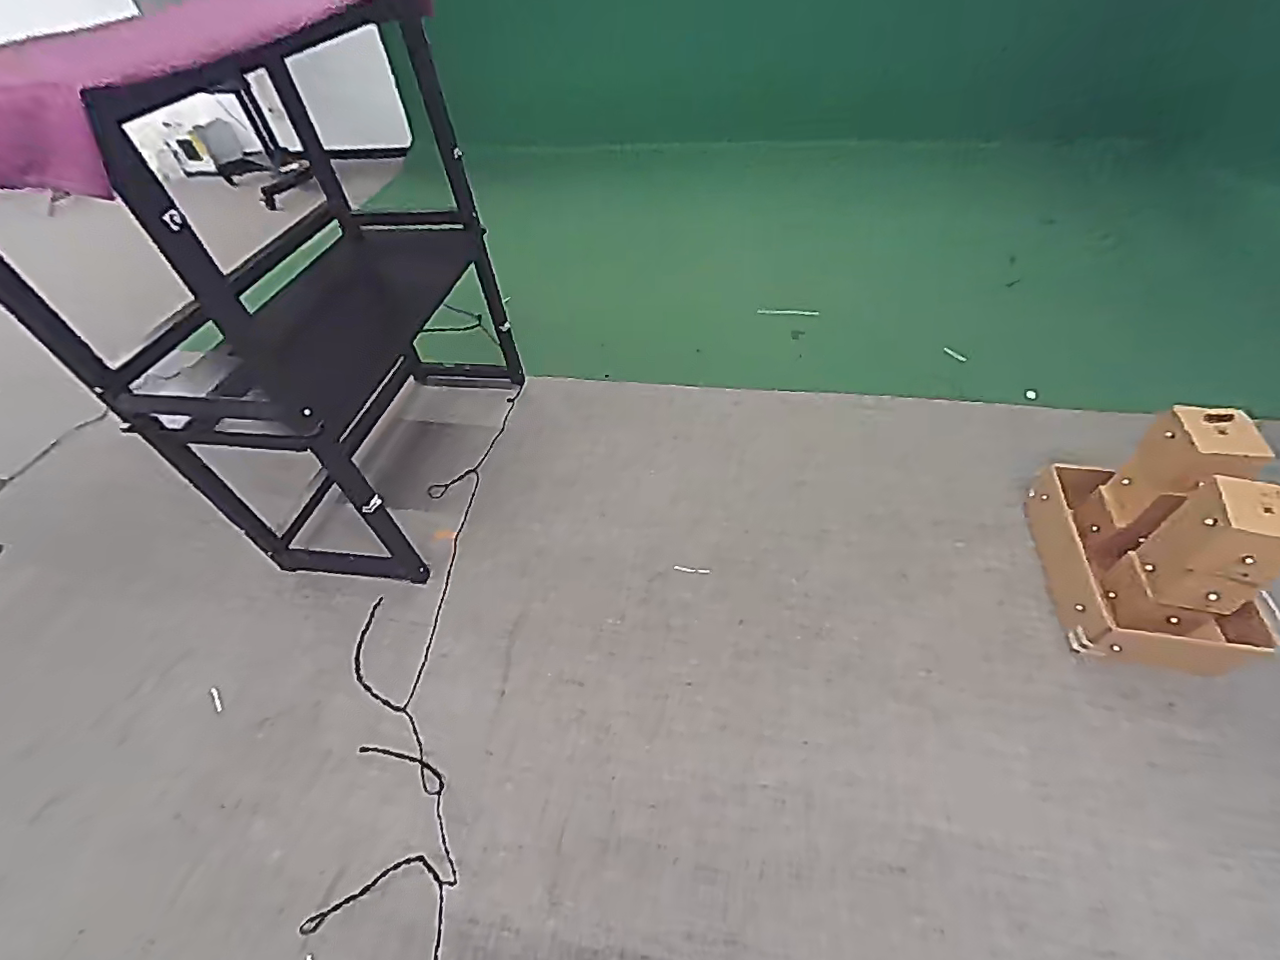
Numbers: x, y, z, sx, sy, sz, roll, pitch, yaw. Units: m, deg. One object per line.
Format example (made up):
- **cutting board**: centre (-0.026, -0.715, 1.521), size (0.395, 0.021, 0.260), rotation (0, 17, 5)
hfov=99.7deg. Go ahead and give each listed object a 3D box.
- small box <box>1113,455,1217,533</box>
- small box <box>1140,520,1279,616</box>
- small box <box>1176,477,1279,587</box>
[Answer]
- **small box**: centre (1.534, 0.046, 1.577), size (0.179, 0.176, 0.168), rotation (4, 51, 10)
- **small box**: centre (1.470, 0.231, 1.411), size (0.168, 0.176, 0.179), rotation (8, 49, 14)
- **small box**: centre (1.439, 0.126, 1.286), size (0.168, 0.176, 0.179), rotation (14, 51, 19)
